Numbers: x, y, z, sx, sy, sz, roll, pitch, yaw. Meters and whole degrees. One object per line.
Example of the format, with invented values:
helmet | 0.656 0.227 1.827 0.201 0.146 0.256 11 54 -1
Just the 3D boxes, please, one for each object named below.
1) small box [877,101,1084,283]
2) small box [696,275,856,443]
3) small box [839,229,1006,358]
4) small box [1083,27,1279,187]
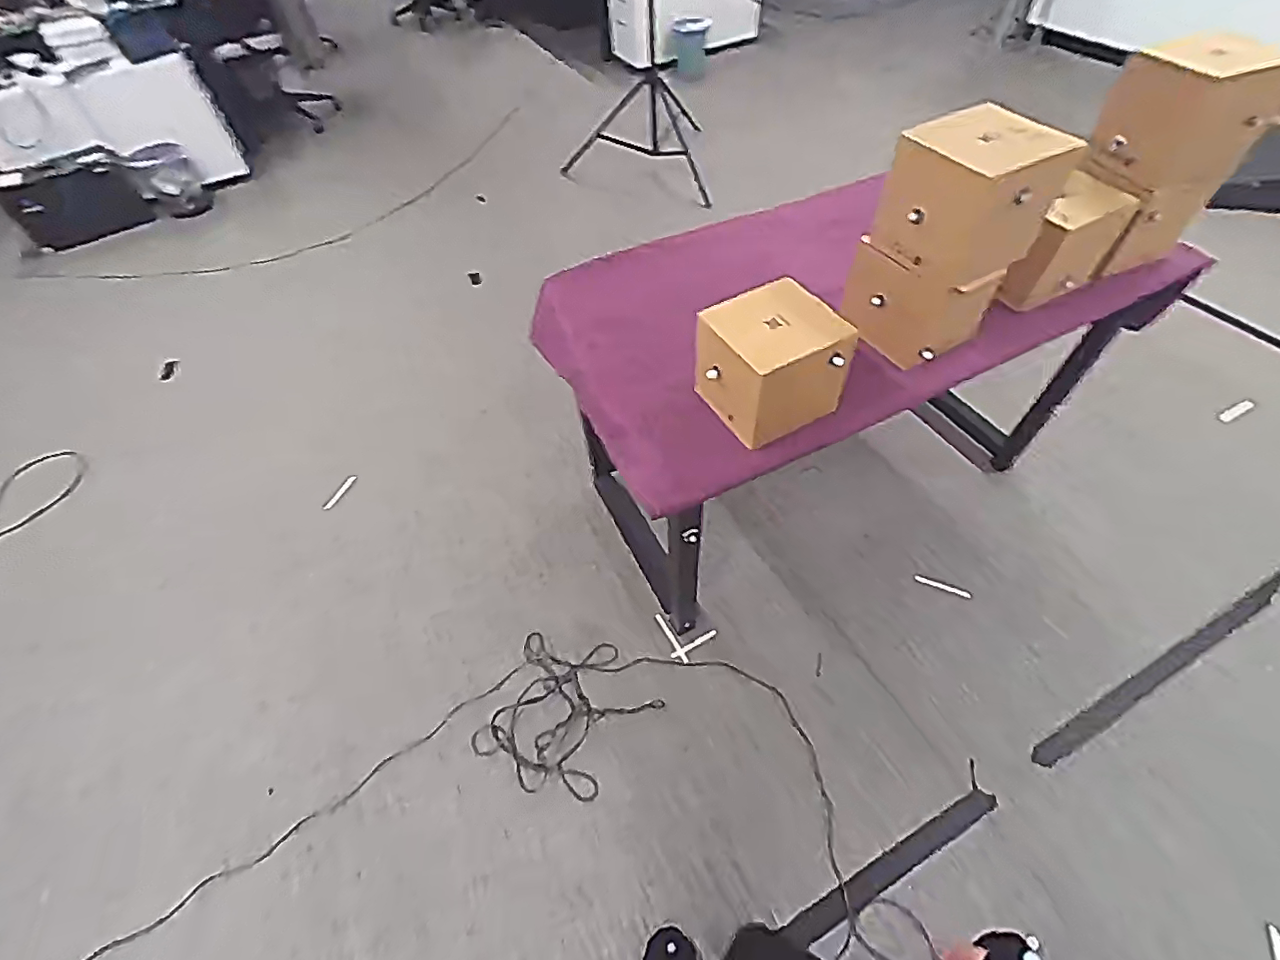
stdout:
small box | 0.482 -0.423 0.803 0.179 0.176 0.168 -24 57 -14
small box | 0.203 -0.187 0.859 0.179 0.176 0.168 -26 57 -15
small box | 0.481 -0.335 0.944 0.168 0.176 0.179 -27 56 -15
small box | 0.926 -0.632 0.922 0.179 0.176 0.168 -16 53 -5
